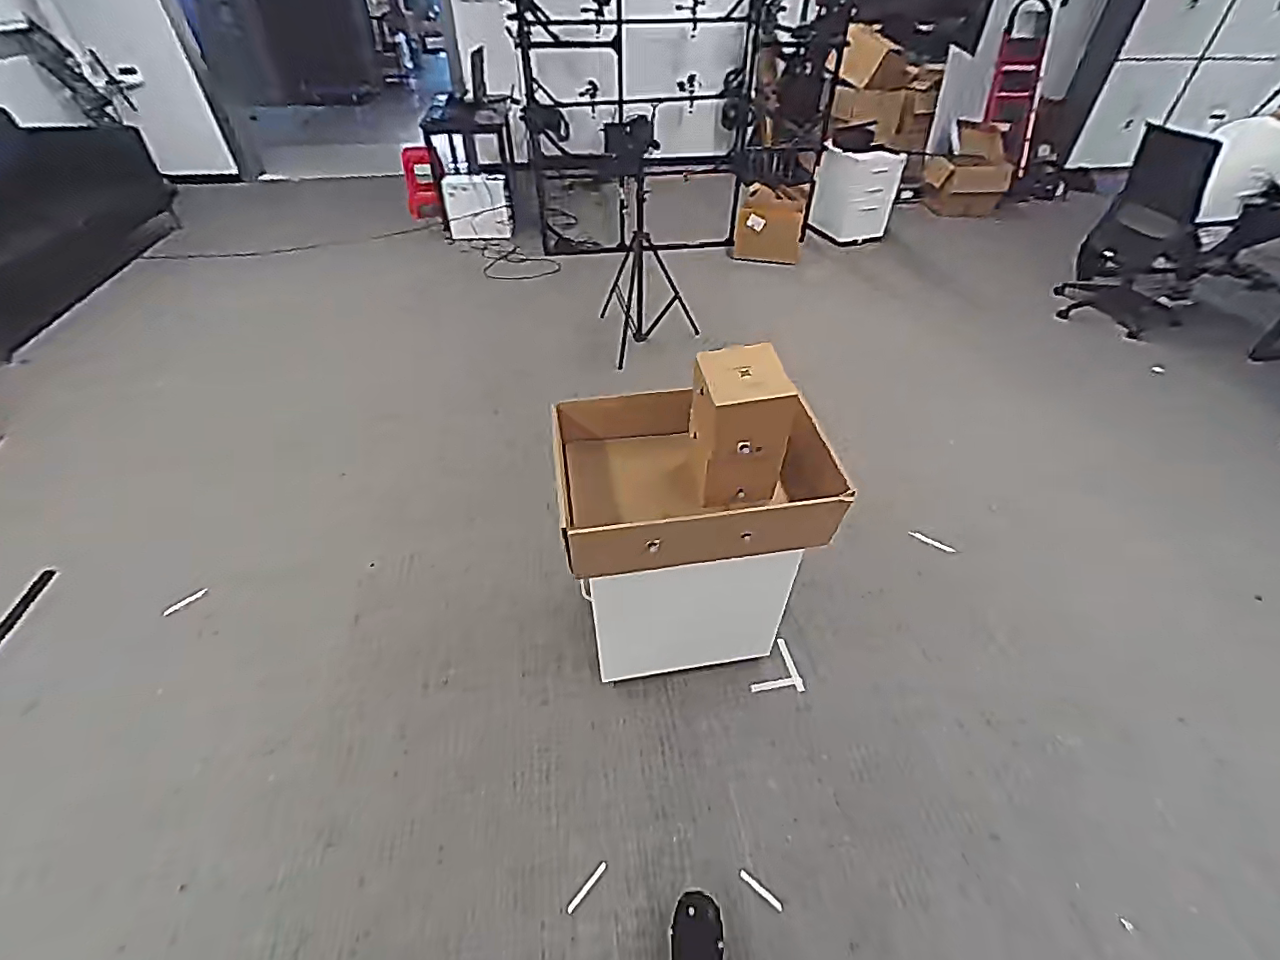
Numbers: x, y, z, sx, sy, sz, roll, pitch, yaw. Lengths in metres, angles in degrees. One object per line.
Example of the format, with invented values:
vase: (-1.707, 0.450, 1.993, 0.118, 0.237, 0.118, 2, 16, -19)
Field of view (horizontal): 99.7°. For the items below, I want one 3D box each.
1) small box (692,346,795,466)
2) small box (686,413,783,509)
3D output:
small box: (0.209, -0.155, 1.146, 0.168, 0.176, 0.179, -10, 50, -4)
small box: (0.213, -0.053, 1.273, 0.179, 0.176, 0.168, -8, 48, -6)
